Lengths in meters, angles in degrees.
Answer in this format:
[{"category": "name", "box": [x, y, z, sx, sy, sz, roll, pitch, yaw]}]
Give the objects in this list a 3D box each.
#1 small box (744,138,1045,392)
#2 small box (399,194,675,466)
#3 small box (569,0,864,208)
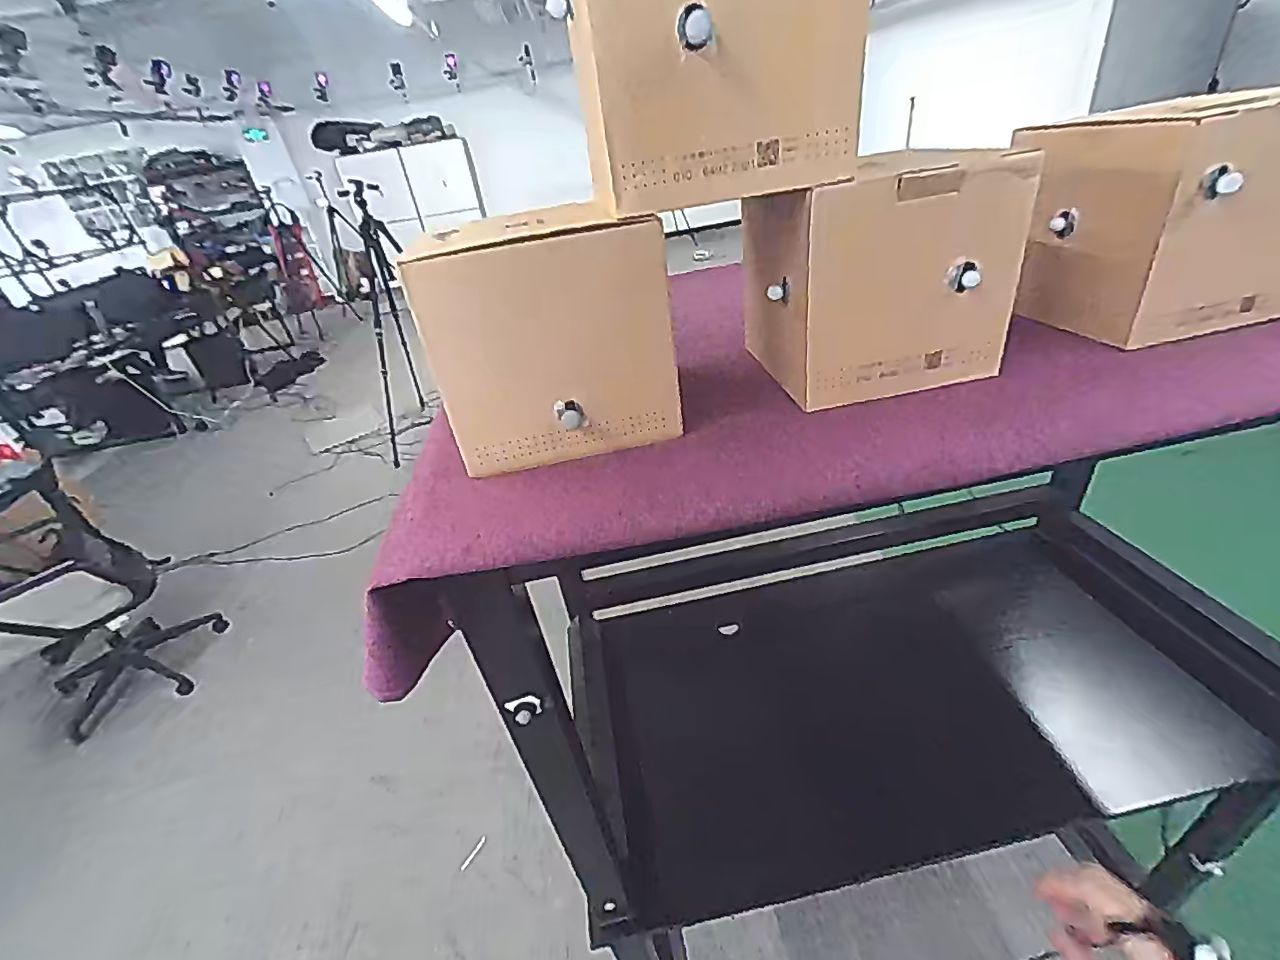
[{"category": "small box", "box": [0.196, -0.185, 0.472, 0.168, 0.176, 0.179, -10, 31, -1]}, {"category": "small box", "box": [-0.071, -0.132, 0.454, 0.179, 0.176, 0.168, -12, 32, -5]}, {"category": "small box", "box": [0.045, -0.298, 0.382, 0.168, 0.176, 0.179, -11, 32, -3]}]
